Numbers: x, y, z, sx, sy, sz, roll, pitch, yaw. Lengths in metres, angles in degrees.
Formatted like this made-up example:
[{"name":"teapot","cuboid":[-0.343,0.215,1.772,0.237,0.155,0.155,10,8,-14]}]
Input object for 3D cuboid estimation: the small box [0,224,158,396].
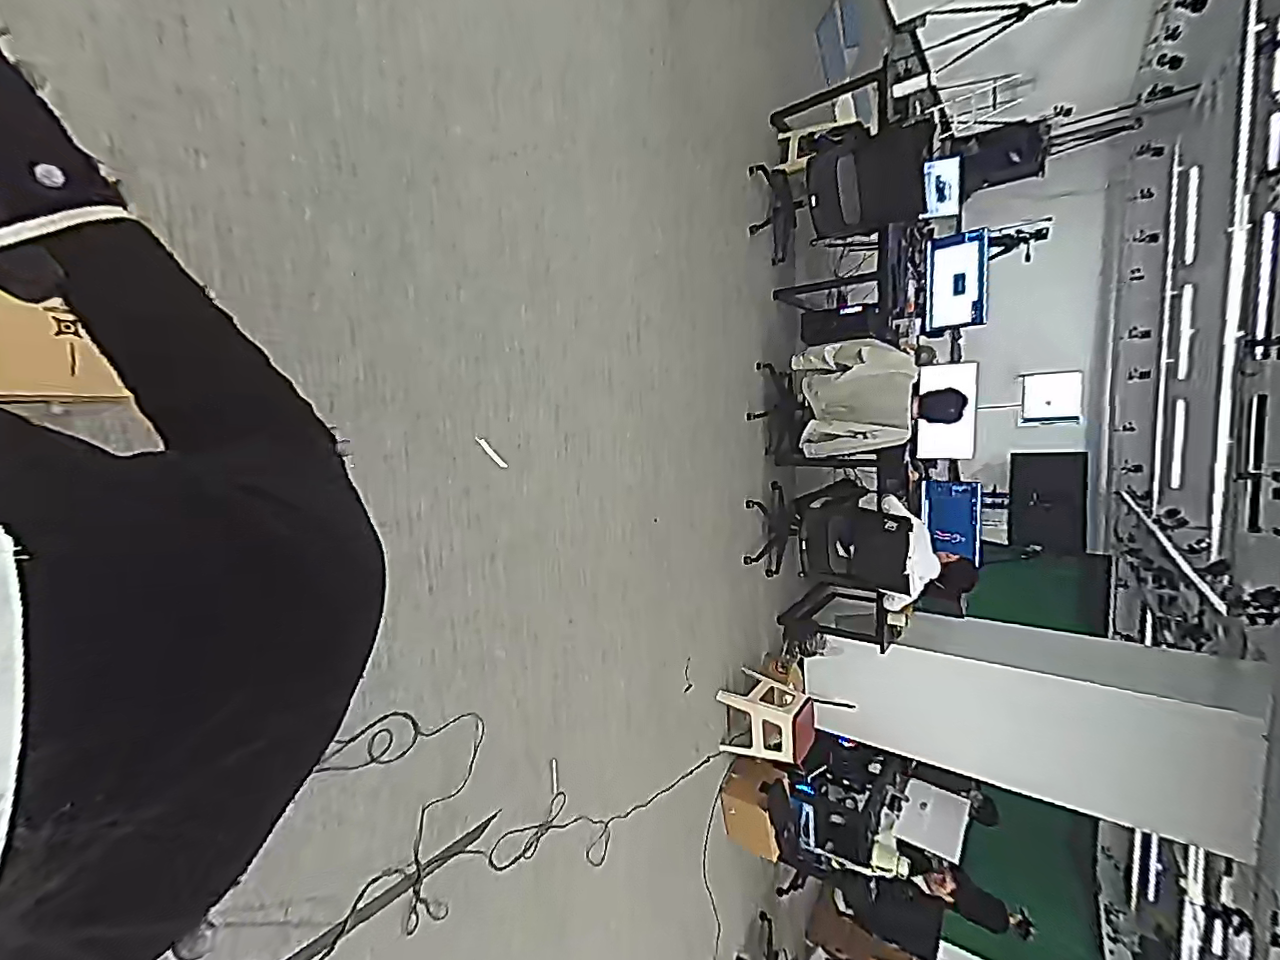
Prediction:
[{"name":"small box","cuboid":[-0.729,-0.196,0.662,0.168,0.176,0.179,-10,102,-54]}]
